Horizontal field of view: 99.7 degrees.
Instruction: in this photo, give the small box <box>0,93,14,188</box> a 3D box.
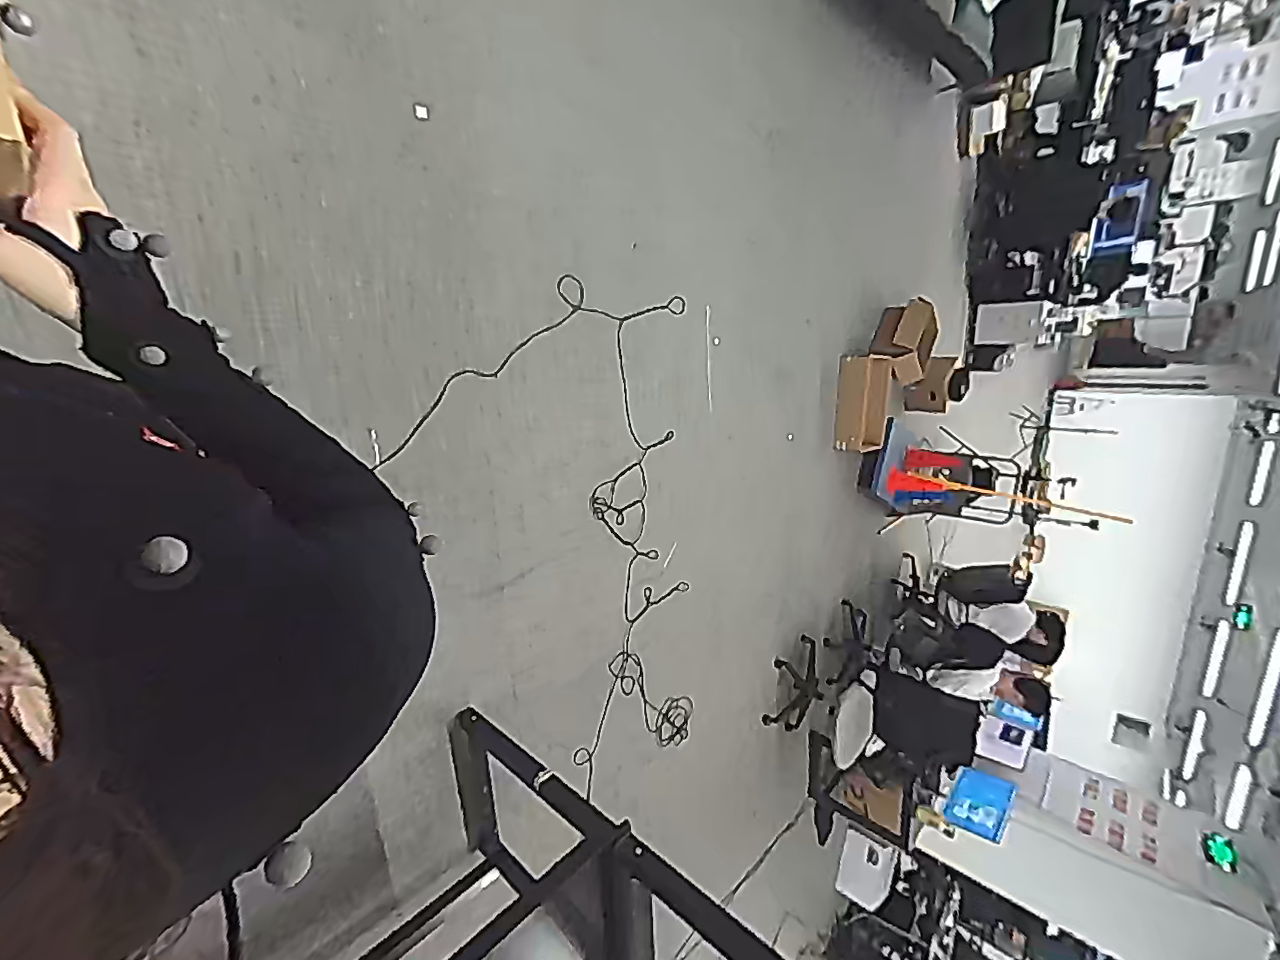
[{"bbox_3d":[-0.411,-0.240,0.225,0.179,0.176,0.168,-13,103,-47],"label":"small box"}]
